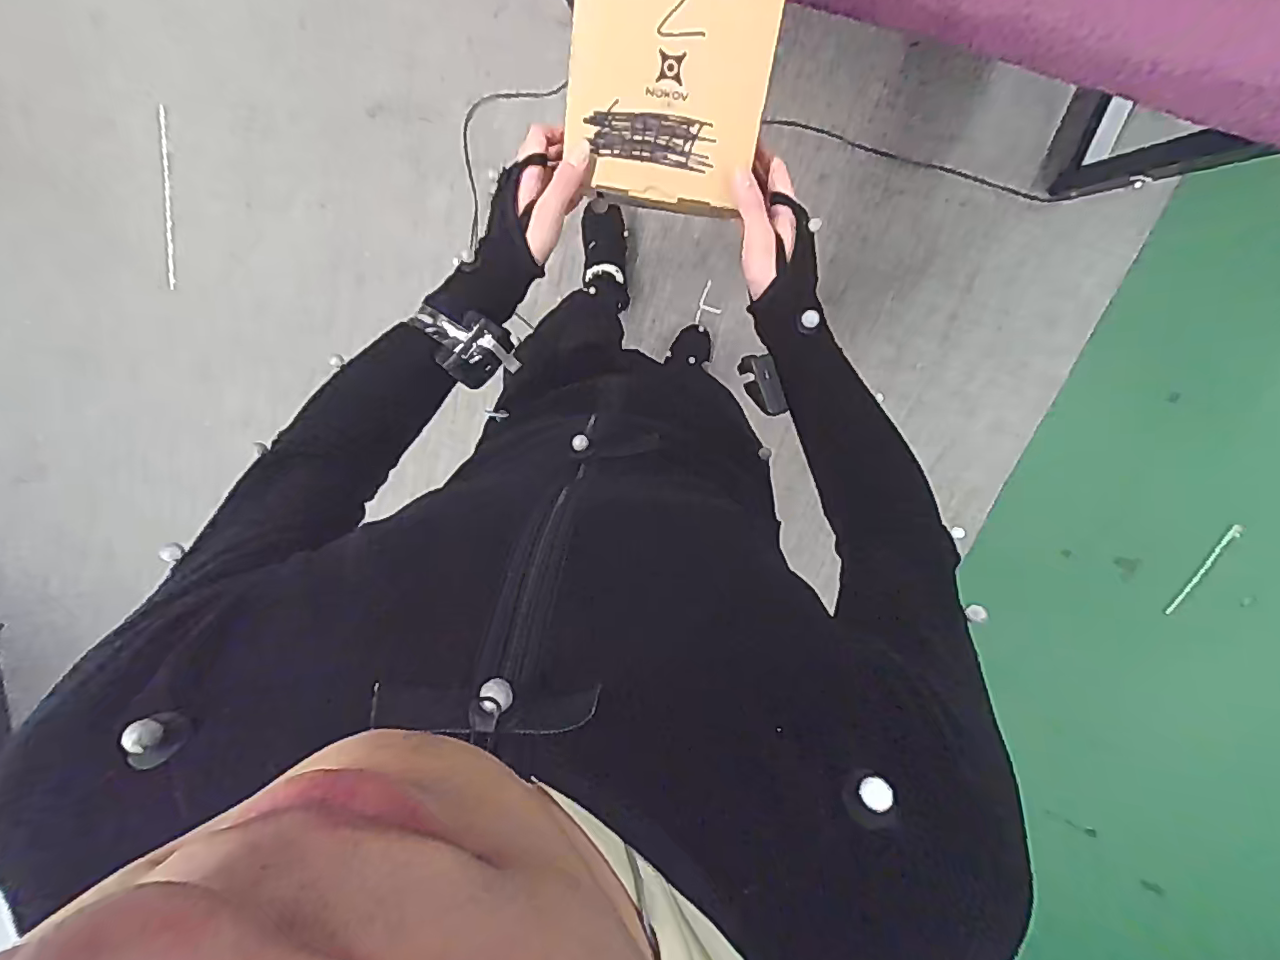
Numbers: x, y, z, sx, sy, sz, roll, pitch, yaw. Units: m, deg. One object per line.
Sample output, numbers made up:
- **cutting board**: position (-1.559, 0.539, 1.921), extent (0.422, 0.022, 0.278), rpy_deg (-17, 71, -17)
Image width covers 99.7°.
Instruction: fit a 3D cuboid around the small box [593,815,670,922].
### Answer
- **small box**: position (-0.018, 1.098, 1.540), extent (0.179, 0.176, 0.168), rpy_deg (17, 110, 1)
